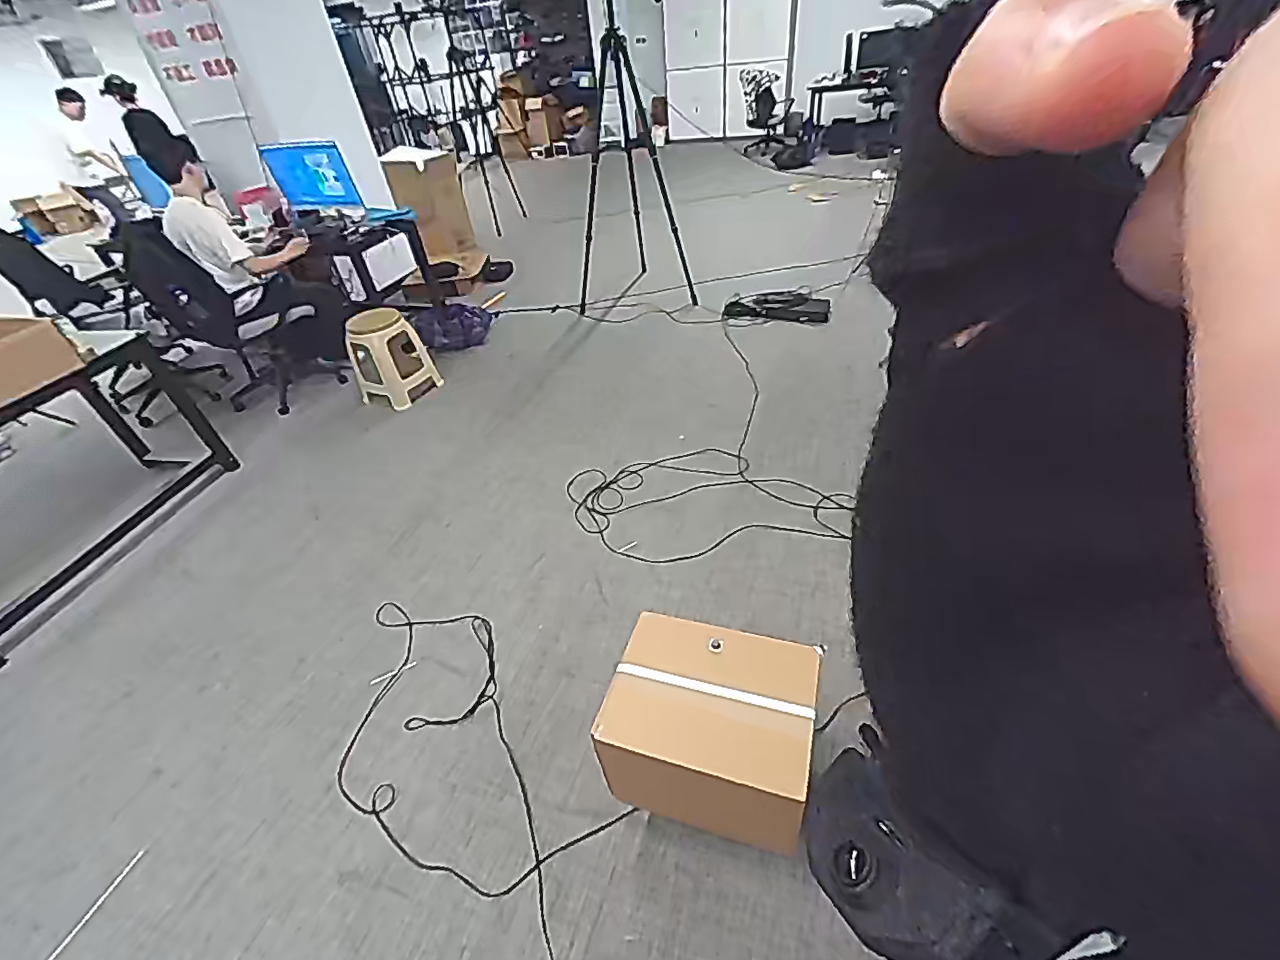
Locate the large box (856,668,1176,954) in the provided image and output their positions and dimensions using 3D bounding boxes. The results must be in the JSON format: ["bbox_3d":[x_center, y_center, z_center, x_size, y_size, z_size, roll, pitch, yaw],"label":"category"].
[{"bbox_3d":[0.659,0.621,1.039,0.408,0.320,0.320,9,42,20],"label":"large box"}]
